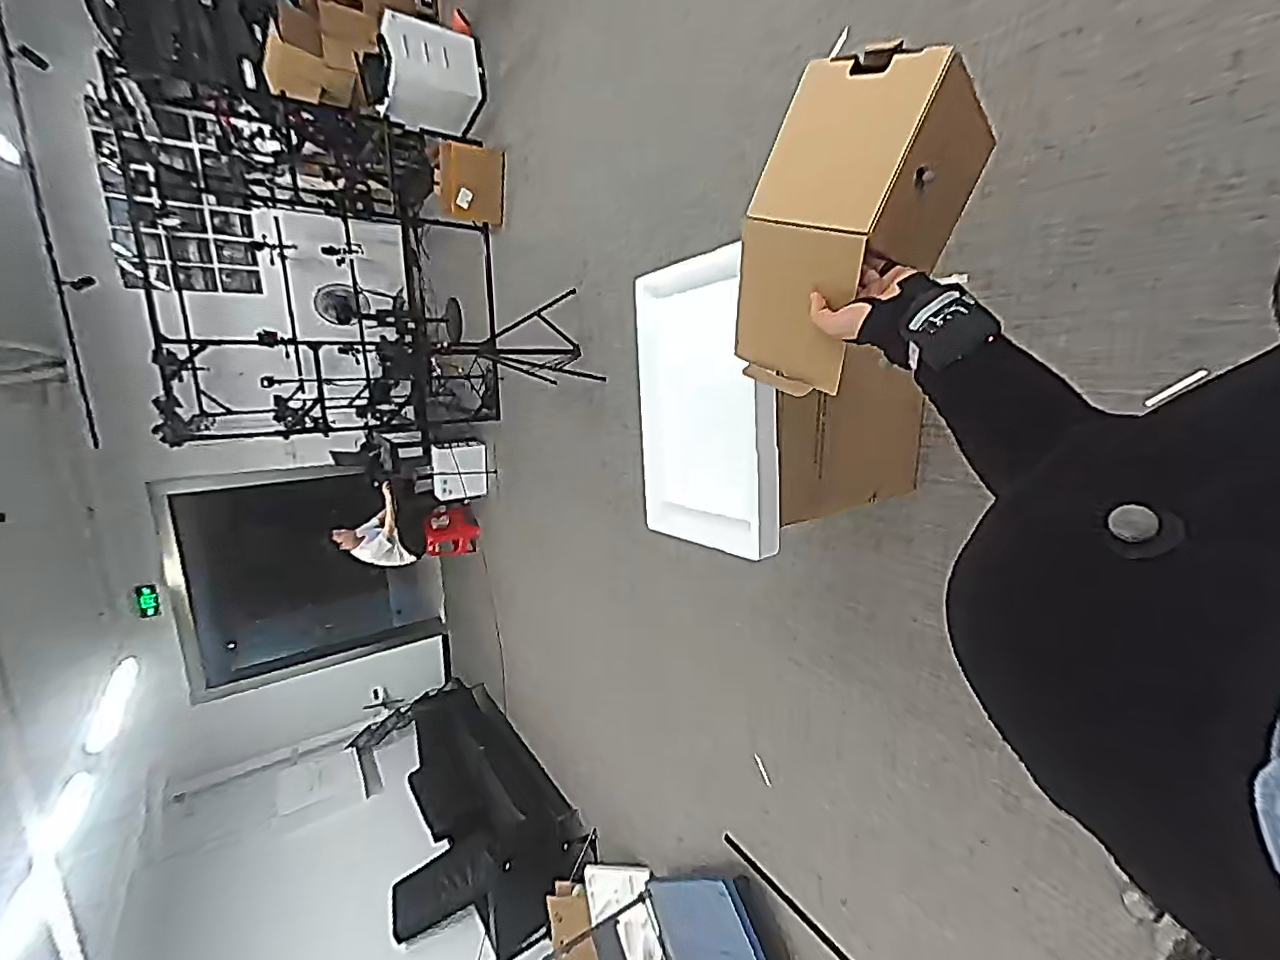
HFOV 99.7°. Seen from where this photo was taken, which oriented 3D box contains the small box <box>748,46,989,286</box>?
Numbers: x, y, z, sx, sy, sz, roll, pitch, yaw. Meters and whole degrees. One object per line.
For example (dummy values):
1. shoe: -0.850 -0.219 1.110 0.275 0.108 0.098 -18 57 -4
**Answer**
1. small box: 0.264 -0.345 0.621 0.168 0.176 0.179 36 109 41
